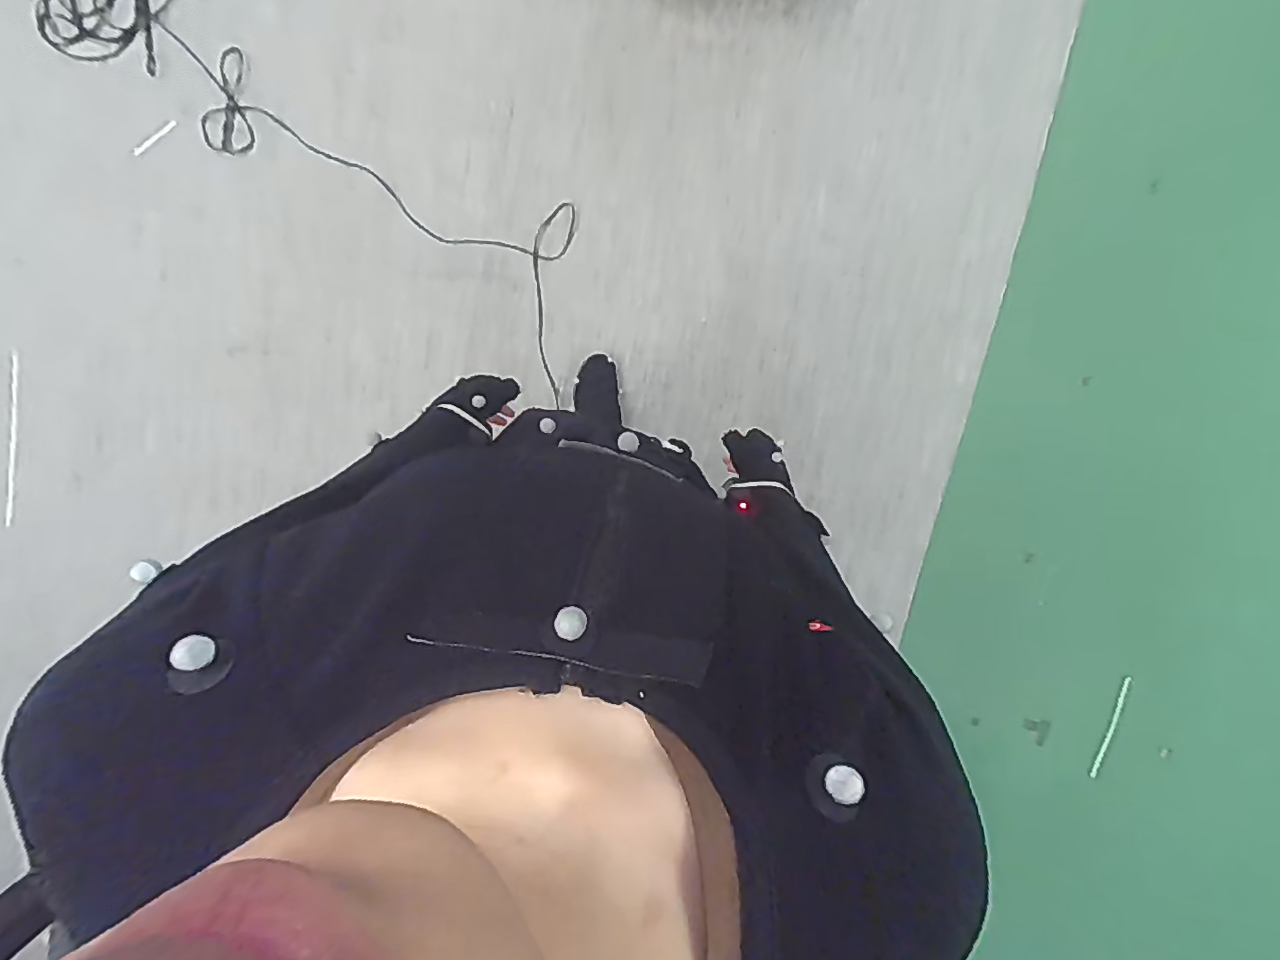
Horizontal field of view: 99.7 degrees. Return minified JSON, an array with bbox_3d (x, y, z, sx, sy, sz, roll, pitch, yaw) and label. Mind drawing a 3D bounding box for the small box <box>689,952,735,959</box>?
[{"bbox_3d":[0.140,0.826,0.764,0.168,0.176,0.179,10,98,0],"label":"small box"}]
